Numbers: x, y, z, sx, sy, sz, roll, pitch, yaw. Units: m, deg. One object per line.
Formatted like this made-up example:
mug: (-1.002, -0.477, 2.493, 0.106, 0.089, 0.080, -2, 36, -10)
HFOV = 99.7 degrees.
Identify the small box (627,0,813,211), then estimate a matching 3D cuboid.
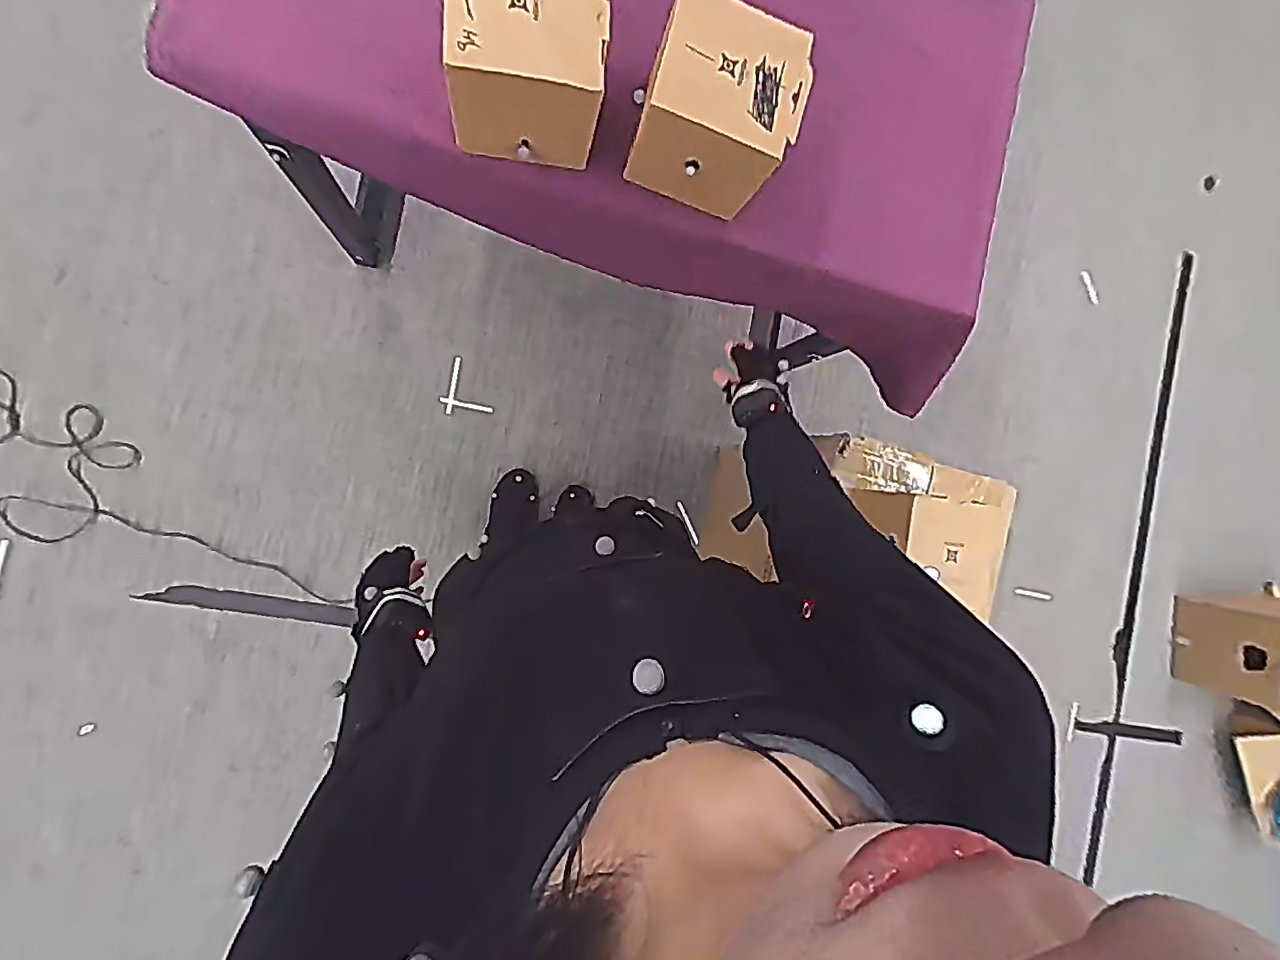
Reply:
small box: (0.097, -0.495, 0.727, 0.179, 0.176, 0.168, 16, 87, -12)

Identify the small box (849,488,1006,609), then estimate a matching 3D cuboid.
small box: (0.482, 0.109, 0.929, 0.168, 0.176, 0.179, 7, 90, -10)

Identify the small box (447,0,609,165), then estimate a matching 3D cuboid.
small box: (-0.140, -0.526, 0.674, 0.179, 0.176, 0.168, 1, 90, -14)
